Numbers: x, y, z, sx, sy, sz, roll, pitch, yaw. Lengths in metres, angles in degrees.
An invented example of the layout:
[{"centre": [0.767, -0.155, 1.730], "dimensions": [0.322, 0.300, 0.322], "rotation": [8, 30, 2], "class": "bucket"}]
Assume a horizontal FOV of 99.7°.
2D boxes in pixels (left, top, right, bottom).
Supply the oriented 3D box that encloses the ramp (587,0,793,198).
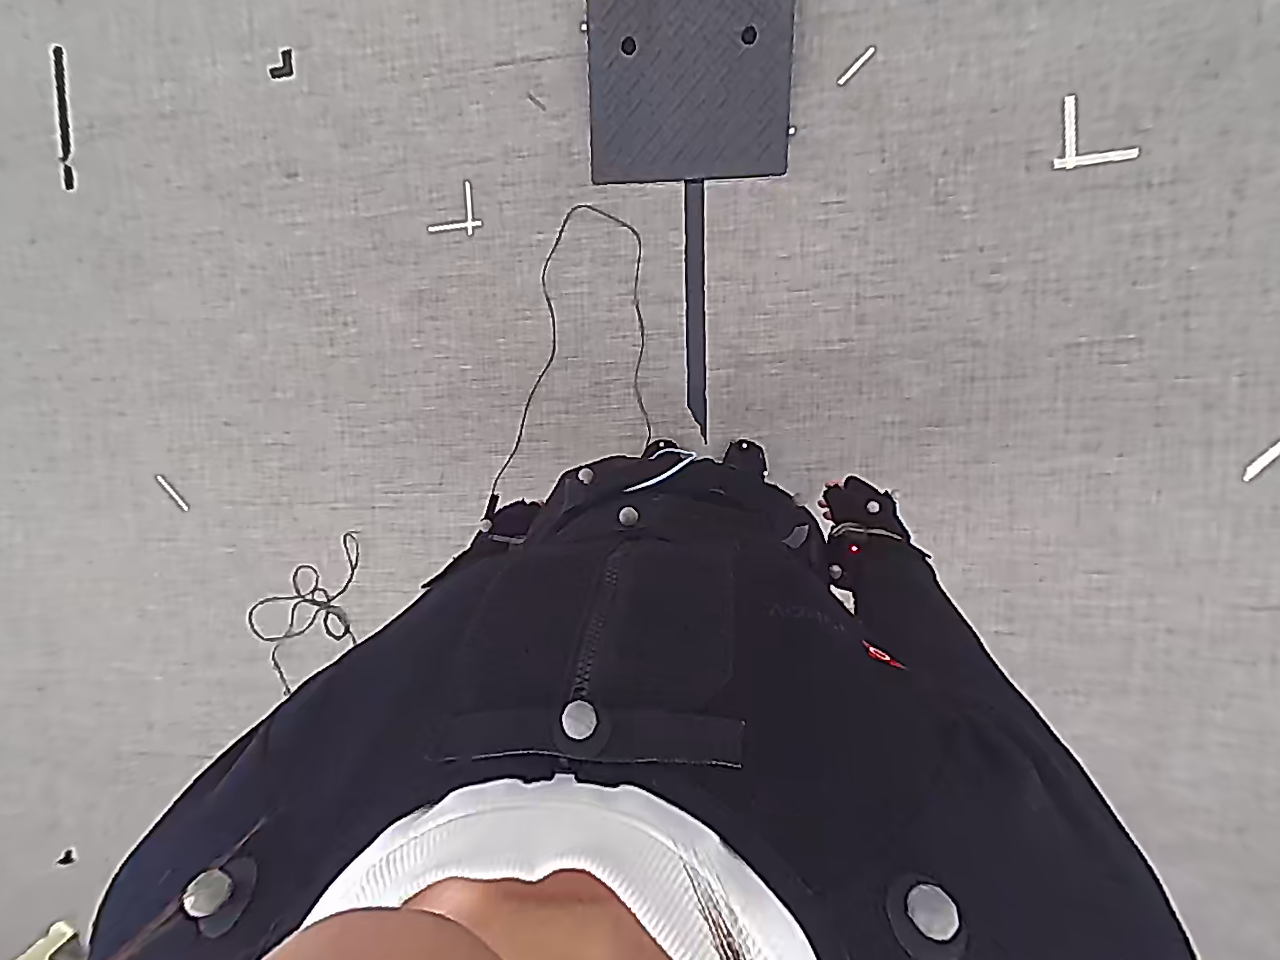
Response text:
[{"centre": [0.111, -1.227, 1.269], "dimensions": [0.509, 0.206, 0.991], "rotation": [-2, 94, 8], "class": "ramp"}]
